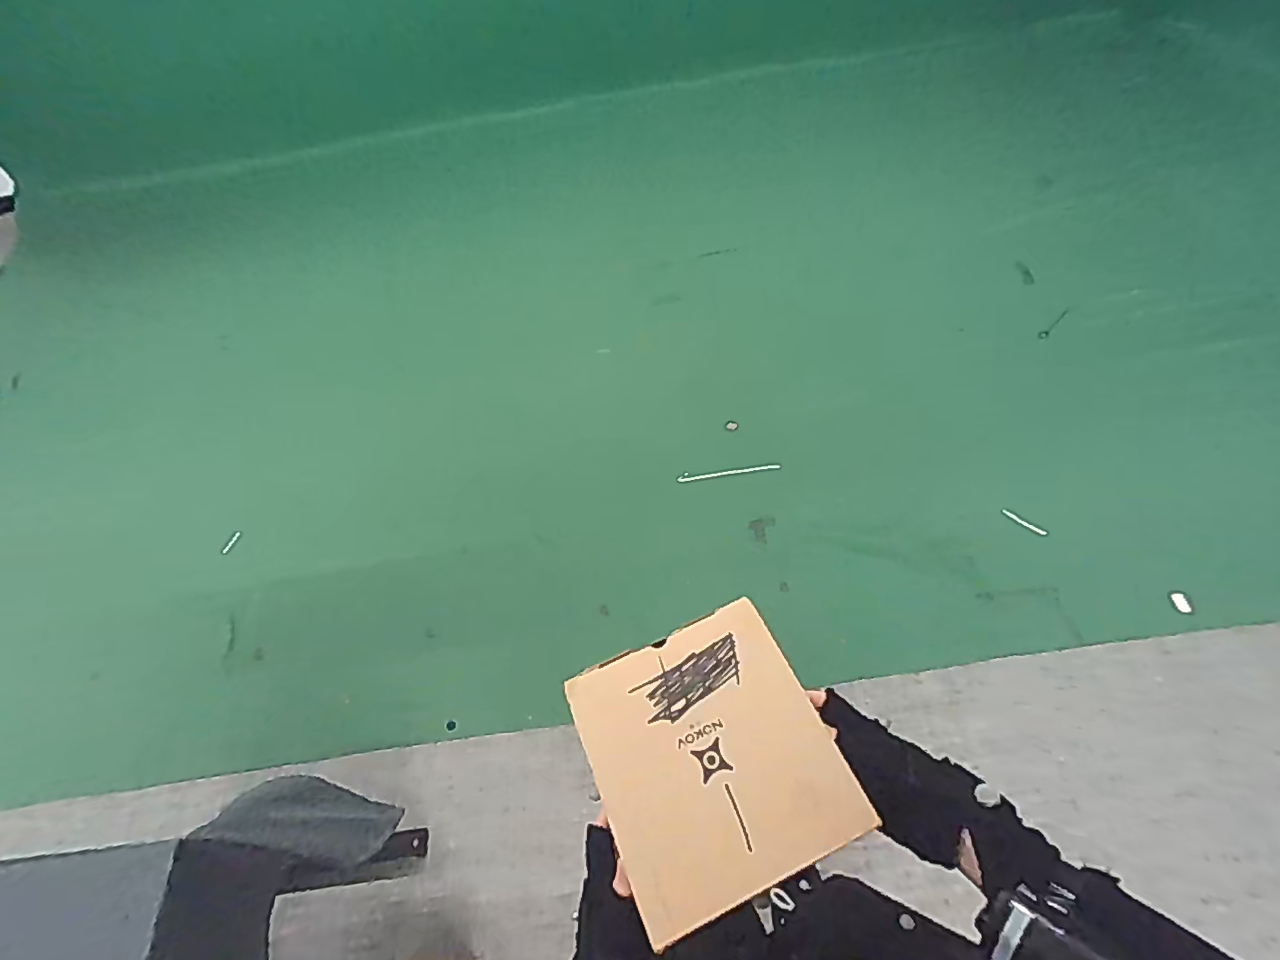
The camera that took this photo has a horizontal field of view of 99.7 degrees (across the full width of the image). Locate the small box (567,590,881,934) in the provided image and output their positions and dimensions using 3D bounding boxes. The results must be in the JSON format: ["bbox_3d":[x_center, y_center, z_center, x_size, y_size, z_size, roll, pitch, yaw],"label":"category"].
[{"bbox_3d":[0.056,0.225,0.444,0.168,0.176,0.179,-23,56,-8],"label":"small box"}]
